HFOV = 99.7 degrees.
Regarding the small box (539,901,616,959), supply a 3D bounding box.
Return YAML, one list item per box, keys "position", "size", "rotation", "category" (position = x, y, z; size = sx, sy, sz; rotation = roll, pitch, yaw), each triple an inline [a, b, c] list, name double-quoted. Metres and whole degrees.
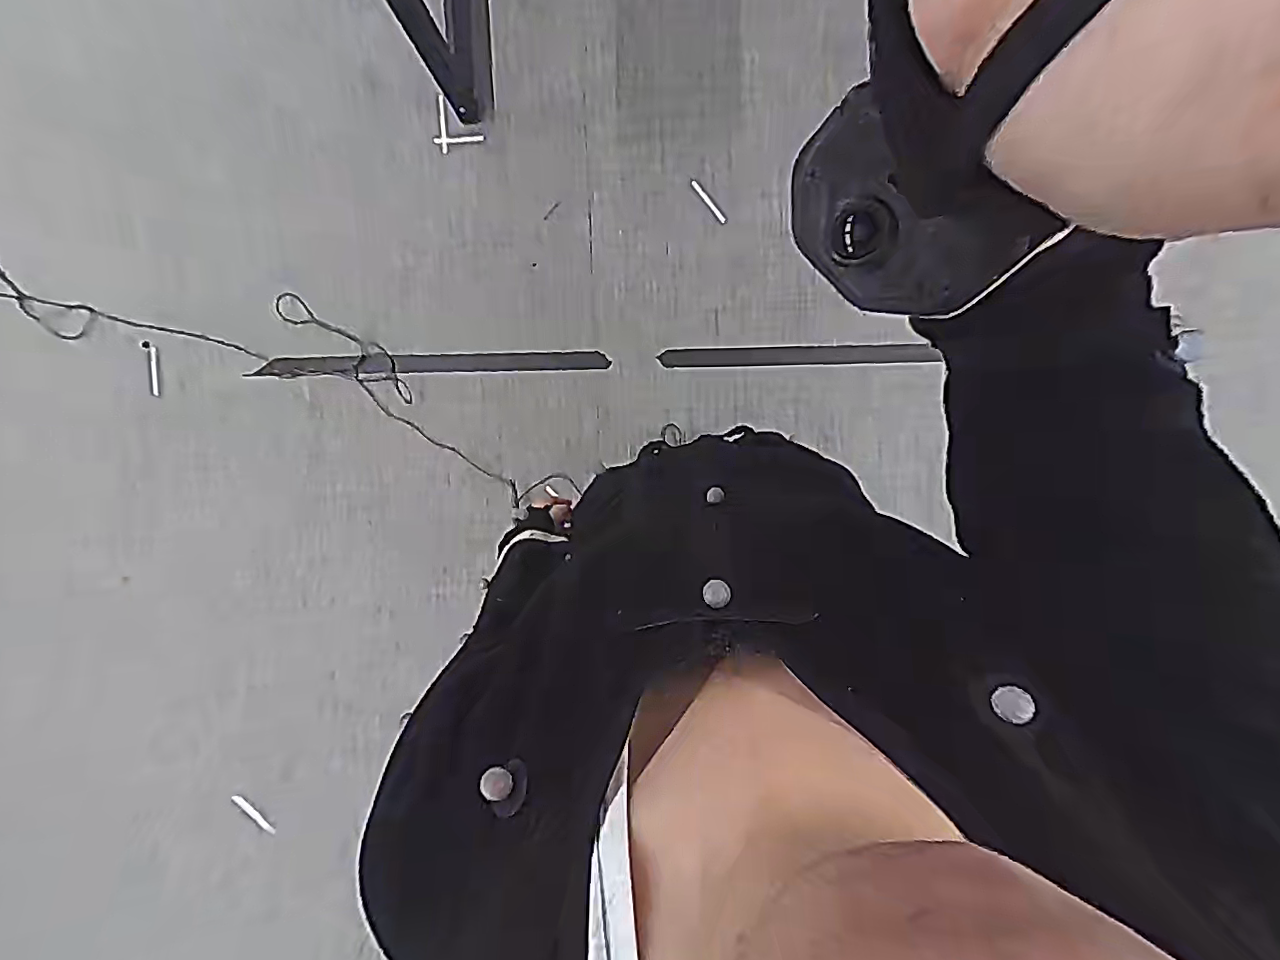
- position: [-0.167, 1.311, 1.490]
  size: [0.179, 0.176, 0.168]
  rotation: [-8, 94, 2]
  category: "small box"
